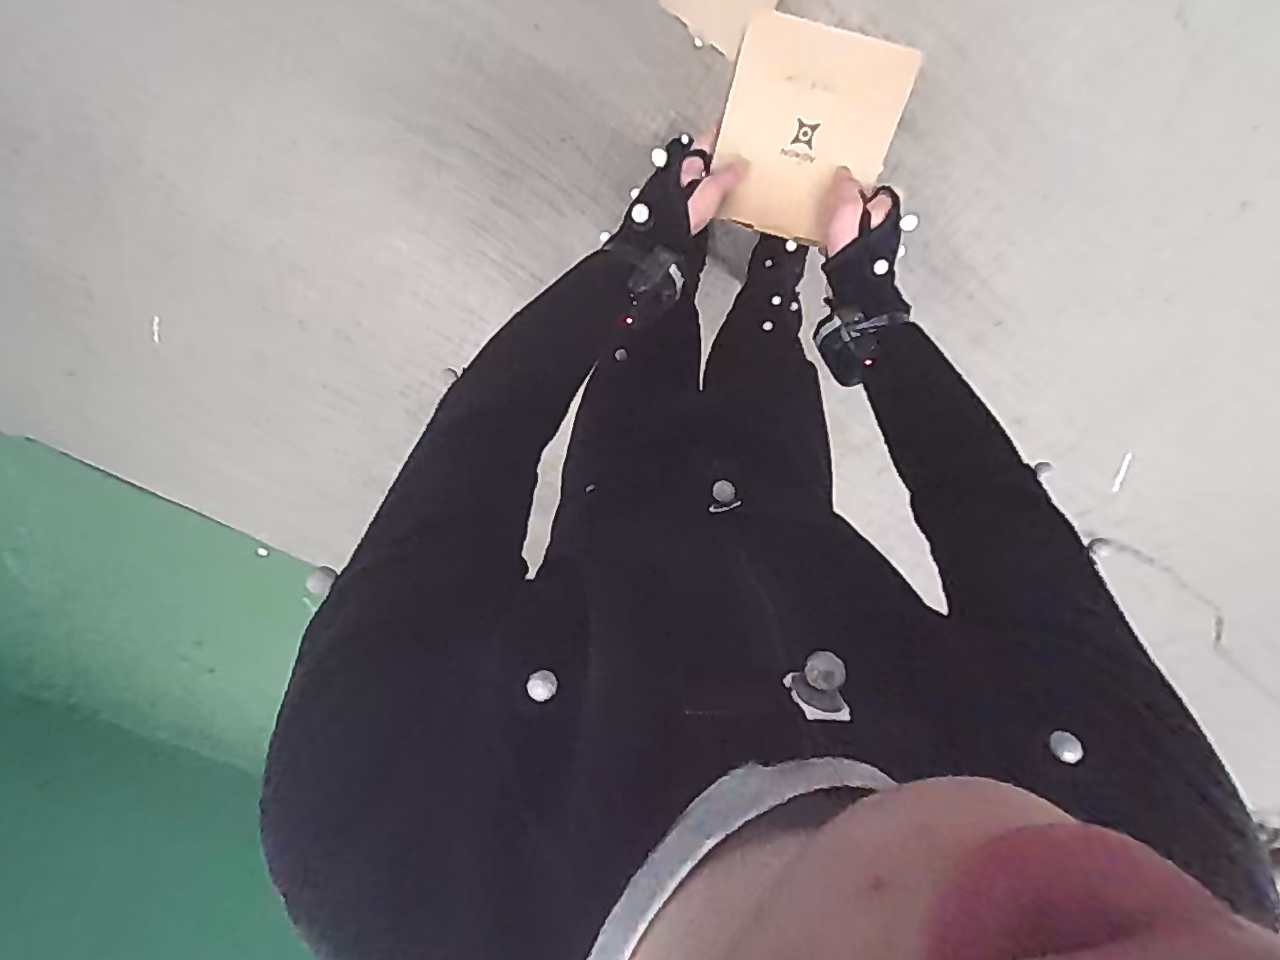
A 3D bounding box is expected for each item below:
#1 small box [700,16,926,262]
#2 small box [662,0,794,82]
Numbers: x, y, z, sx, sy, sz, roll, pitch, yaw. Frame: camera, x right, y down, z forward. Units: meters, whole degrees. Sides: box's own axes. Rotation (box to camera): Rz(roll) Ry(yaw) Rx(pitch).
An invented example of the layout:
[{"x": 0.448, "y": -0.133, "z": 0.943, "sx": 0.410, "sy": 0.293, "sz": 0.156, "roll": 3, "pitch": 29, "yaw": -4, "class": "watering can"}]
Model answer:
[{"x": 0.167, "y": -0.352, "z": 0.587, "sx": 0.168, "sy": 0.176, "sz": 0.179, "roll": 13, "pitch": 116, "yaw": -1, "class": "small box"}, {"x": 0.159, "y": -0.797, "z": 0.890, "sx": 0.168, "sy": 0.176, "sz": 0.179, "roll": 29, "pitch": 129, "yaw": -12, "class": "small box"}]
